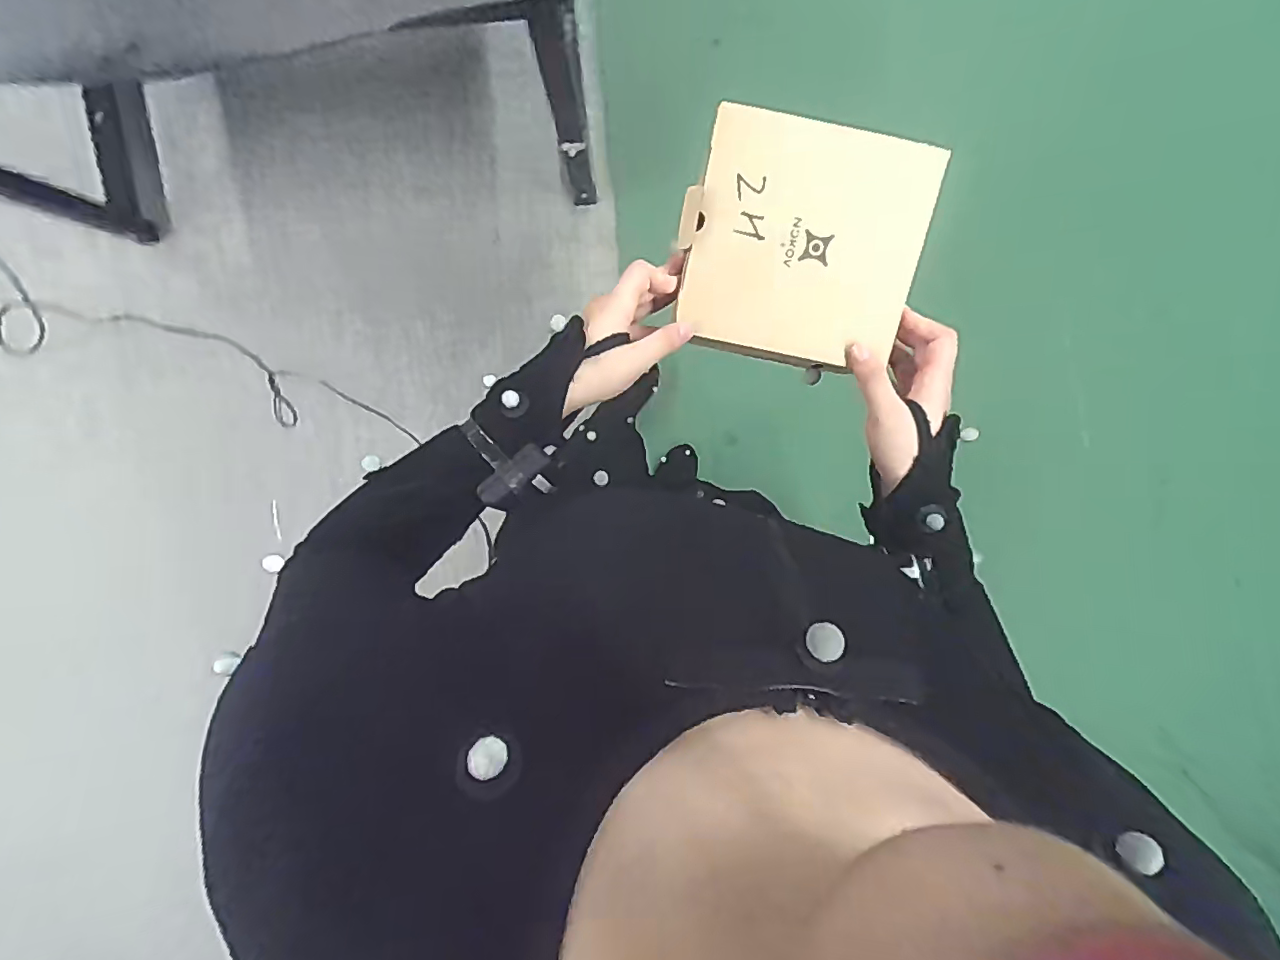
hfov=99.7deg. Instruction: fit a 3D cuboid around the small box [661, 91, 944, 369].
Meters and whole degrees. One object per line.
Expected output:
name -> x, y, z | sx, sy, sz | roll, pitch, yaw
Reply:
small box -> 0.119, -0.198, 0.476 | 0.179, 0.176, 0.168 | 11, 103, 0
